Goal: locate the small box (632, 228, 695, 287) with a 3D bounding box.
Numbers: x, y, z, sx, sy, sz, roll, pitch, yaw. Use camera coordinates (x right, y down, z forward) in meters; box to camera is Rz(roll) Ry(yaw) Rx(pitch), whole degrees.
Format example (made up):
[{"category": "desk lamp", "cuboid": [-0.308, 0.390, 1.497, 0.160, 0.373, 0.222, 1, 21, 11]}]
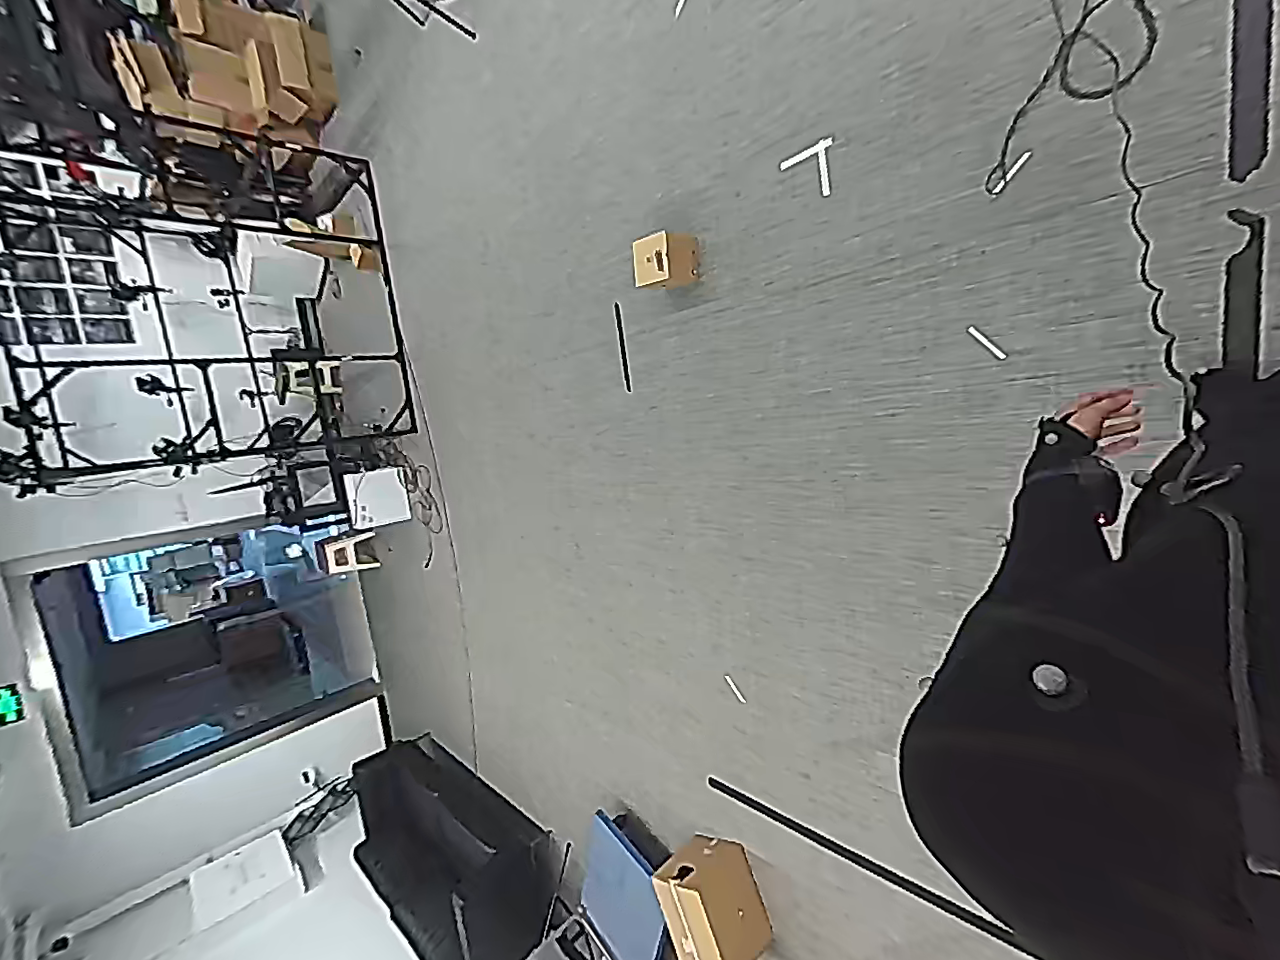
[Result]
[{"category": "small box", "cuboid": [0.094, -0.824, 2.016, 0.179, 0.176, 0.168, 6, 104, 47]}]
